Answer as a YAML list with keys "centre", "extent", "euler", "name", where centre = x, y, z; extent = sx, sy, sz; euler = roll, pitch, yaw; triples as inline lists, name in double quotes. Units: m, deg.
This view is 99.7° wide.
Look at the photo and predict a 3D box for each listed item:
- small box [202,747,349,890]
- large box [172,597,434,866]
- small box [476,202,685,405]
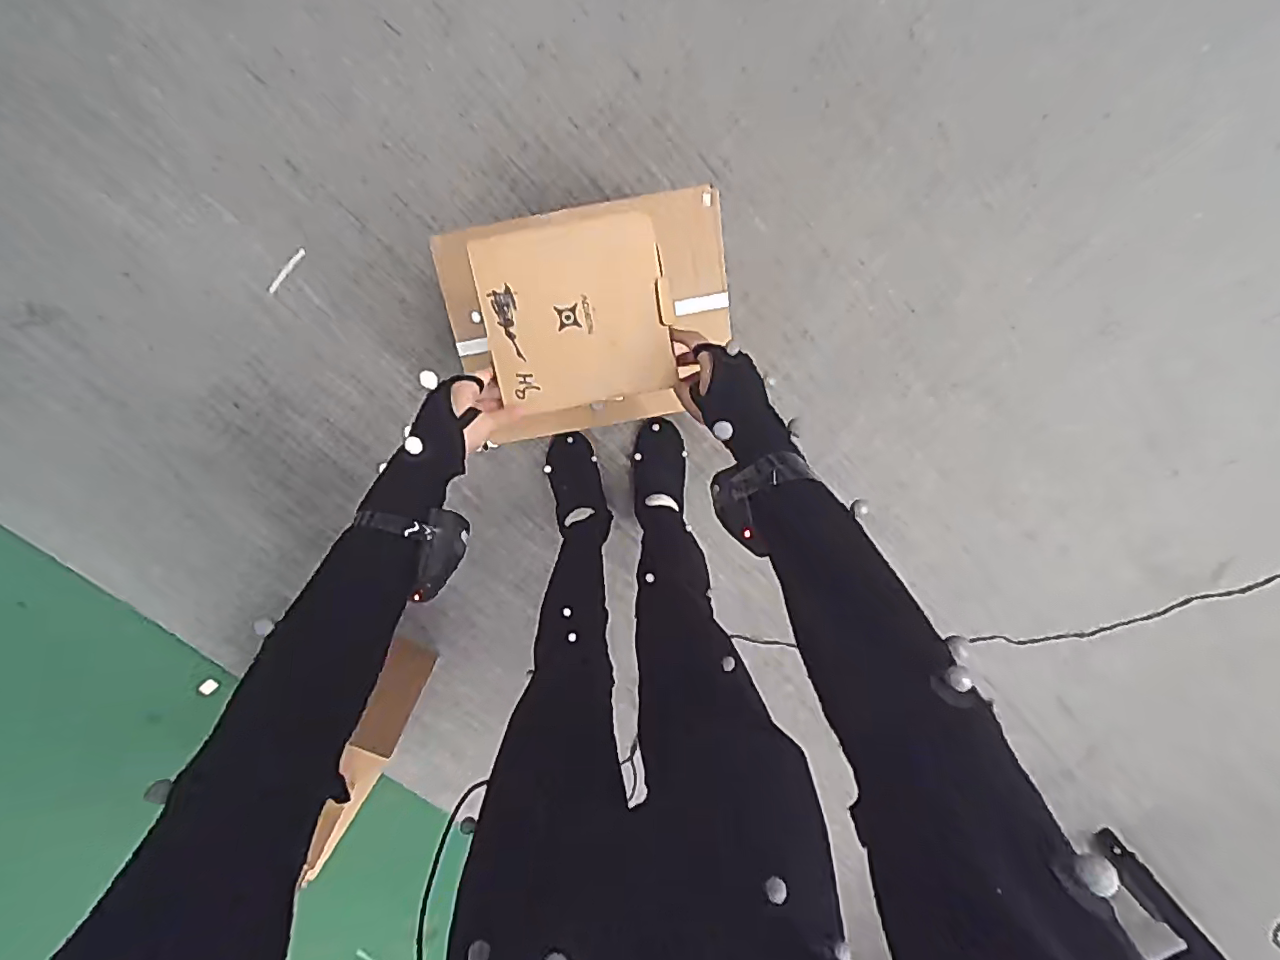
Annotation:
- centre: [-0.673, 0.626, 0.981]
  extent: [0.179, 0.176, 0.168]
  euler: [36, 104, -15]
  name: "small box"
- centre: [-0.724, 0.547, 1.211]
  extent: [0.320, 0.320, 0.408]
  euler: [31, 107, -12]
  name: "large box"
- centre: [-0.060, -0.181, 0.585]
  extent: [0.179, 0.176, 0.168]
  euler: [-10, 103, -3]
  name: "small box"
